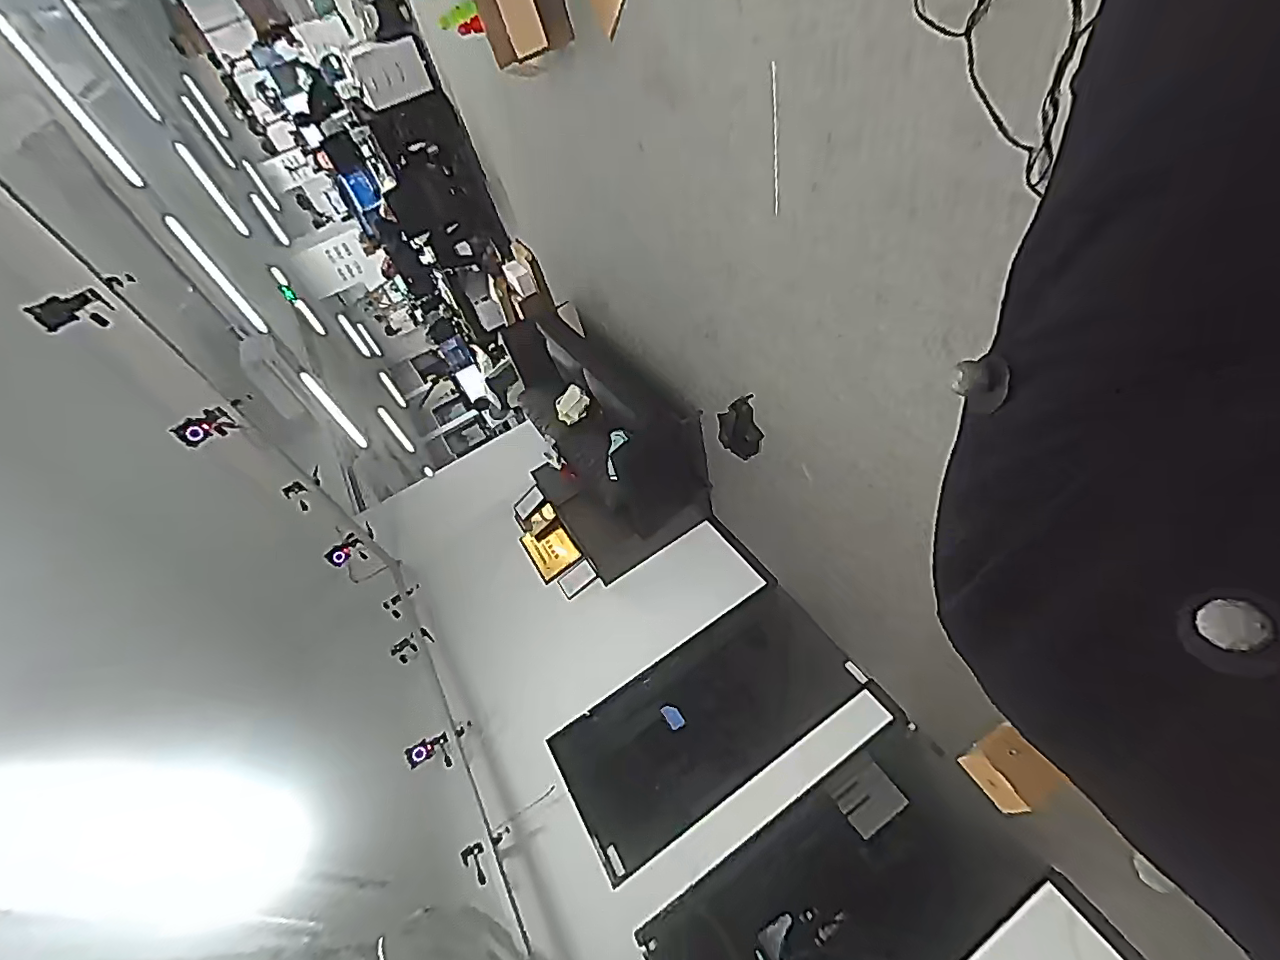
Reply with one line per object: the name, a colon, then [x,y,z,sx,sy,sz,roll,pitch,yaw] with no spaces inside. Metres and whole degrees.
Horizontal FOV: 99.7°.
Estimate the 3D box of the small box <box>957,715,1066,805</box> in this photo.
small box: [1.066,0.802,1.552,0.168,0.176,0.179,54,168,32]
